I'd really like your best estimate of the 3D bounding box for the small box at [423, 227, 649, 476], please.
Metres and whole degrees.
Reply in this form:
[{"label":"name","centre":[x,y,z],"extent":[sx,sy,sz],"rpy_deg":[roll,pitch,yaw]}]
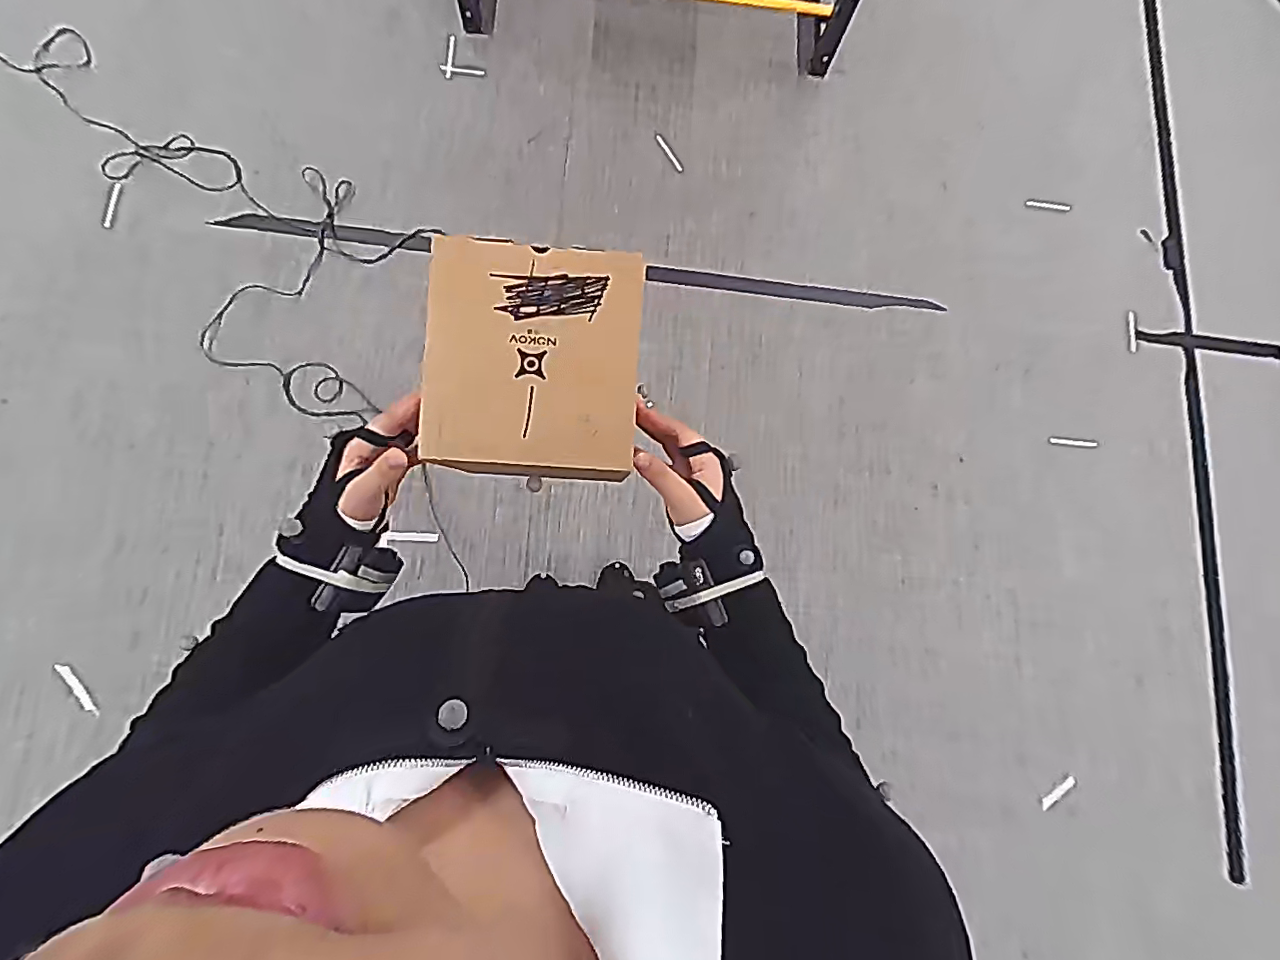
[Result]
[{"label":"small box","centre":[-0.085,-0.101,0.500],"extent":[0.168,0.176,0.179],"rpy_deg":[3,86,-4]}]
